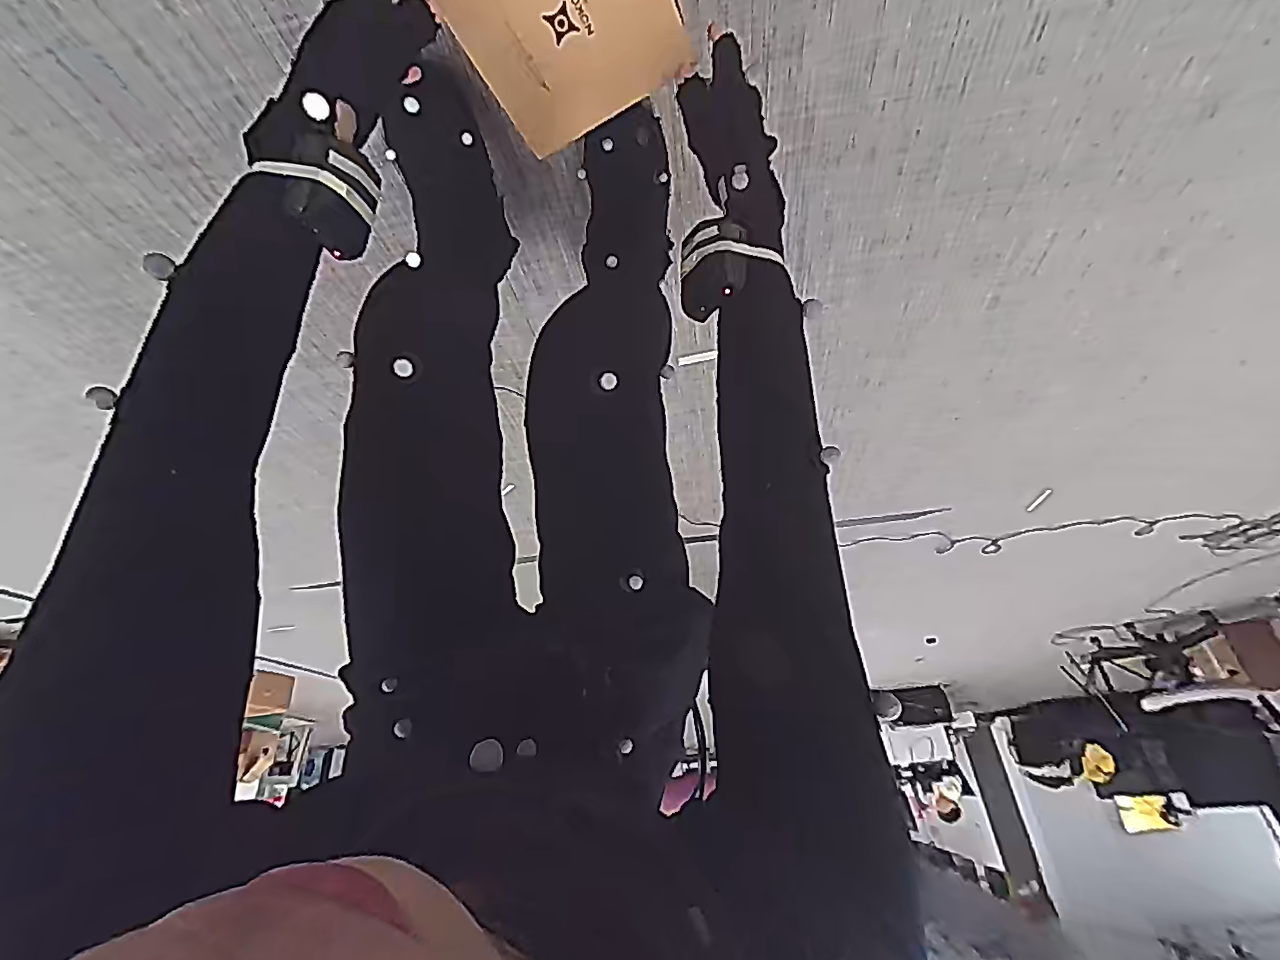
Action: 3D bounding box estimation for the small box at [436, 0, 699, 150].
[{"bbox_3d":[-0.066,-0.450,0.477,0.179,0.176,0.168,-18,146,22],"label":"small box"}]
